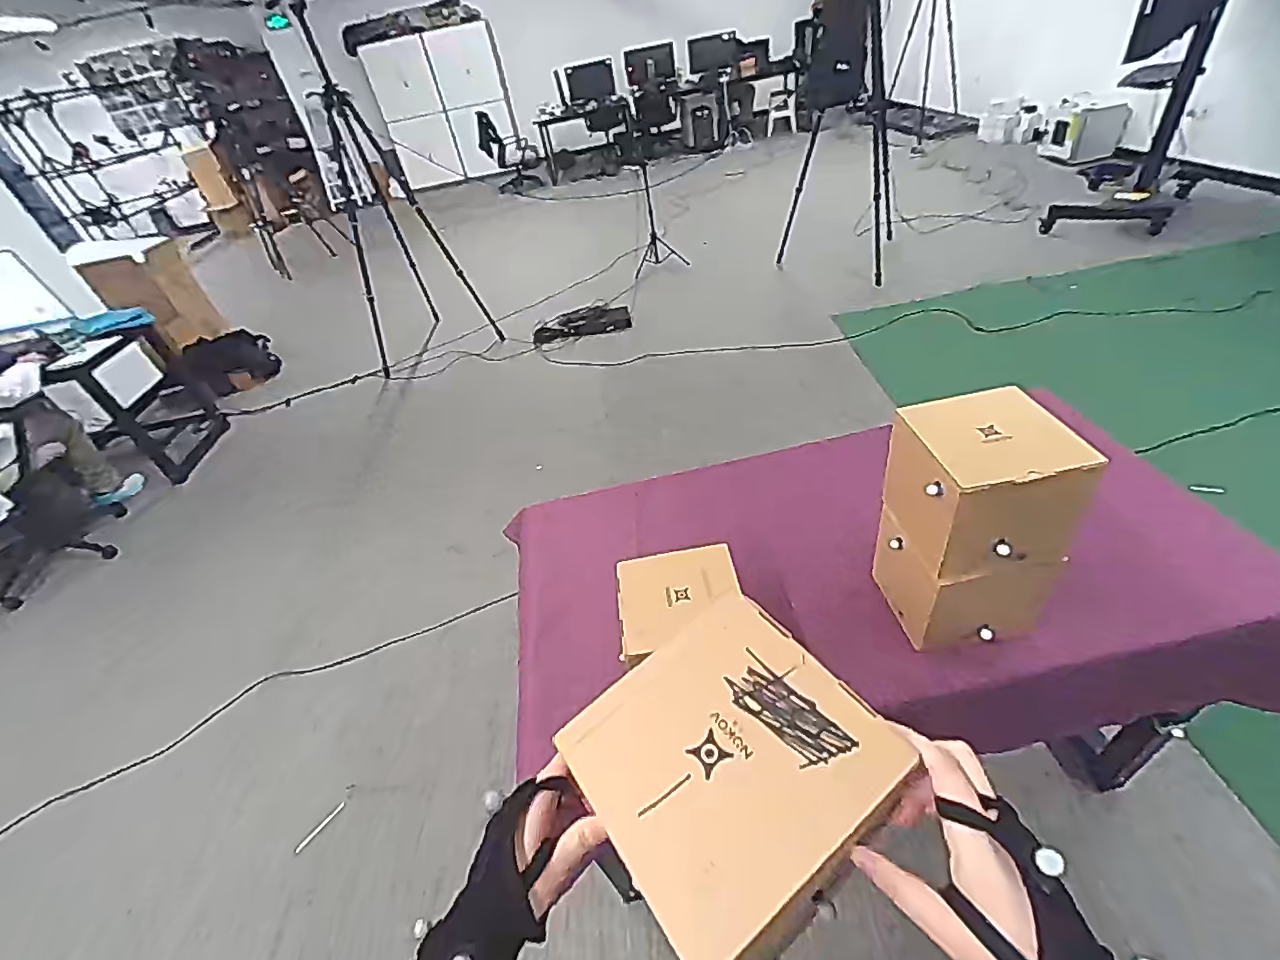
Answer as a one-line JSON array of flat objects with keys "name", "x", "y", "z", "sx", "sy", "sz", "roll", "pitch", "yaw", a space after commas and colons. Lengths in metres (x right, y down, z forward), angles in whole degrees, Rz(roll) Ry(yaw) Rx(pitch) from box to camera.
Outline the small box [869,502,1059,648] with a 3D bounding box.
[{"name": "small box", "x": 0.475, "y": 0.131, "z": 0.827, "sx": 0.179, "sy": 0.176, "sz": 0.168, "roll": -11, "pitch": 39, "yaw": 1}]

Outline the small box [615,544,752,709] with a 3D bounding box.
[{"name": "small box", "x": 0.065, "y": 0.226, "z": 0.823, "sx": 0.179, "sy": 0.176, "sz": 0.168, "roll": -10, "pitch": 40, "yaw": 2}]

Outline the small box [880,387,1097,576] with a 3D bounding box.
[{"name": "small box", "x": 0.445, "y": 0.002, "z": 0.731, "sx": 0.168, "sy": 0.176, "sz": 0.179, "roll": -12, "pitch": 41, "yaw": 2}]
